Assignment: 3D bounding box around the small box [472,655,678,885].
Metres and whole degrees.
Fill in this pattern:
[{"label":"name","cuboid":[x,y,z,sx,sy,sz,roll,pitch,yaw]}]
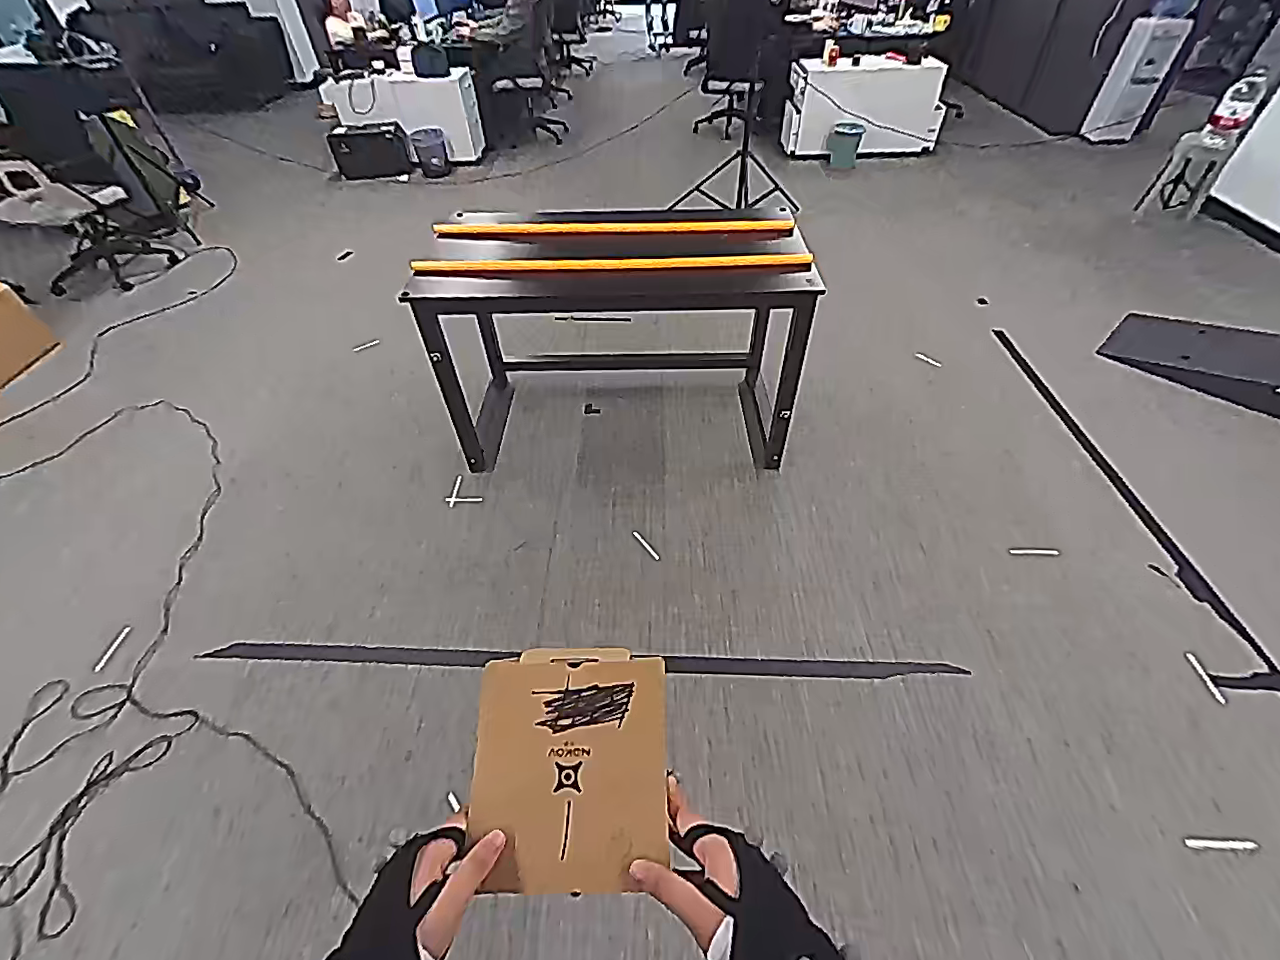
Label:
[{"label":"small box","cuboid":[-0.050,0.280,0.534,0.168,0.176,0.179,-2,61,2]}]
